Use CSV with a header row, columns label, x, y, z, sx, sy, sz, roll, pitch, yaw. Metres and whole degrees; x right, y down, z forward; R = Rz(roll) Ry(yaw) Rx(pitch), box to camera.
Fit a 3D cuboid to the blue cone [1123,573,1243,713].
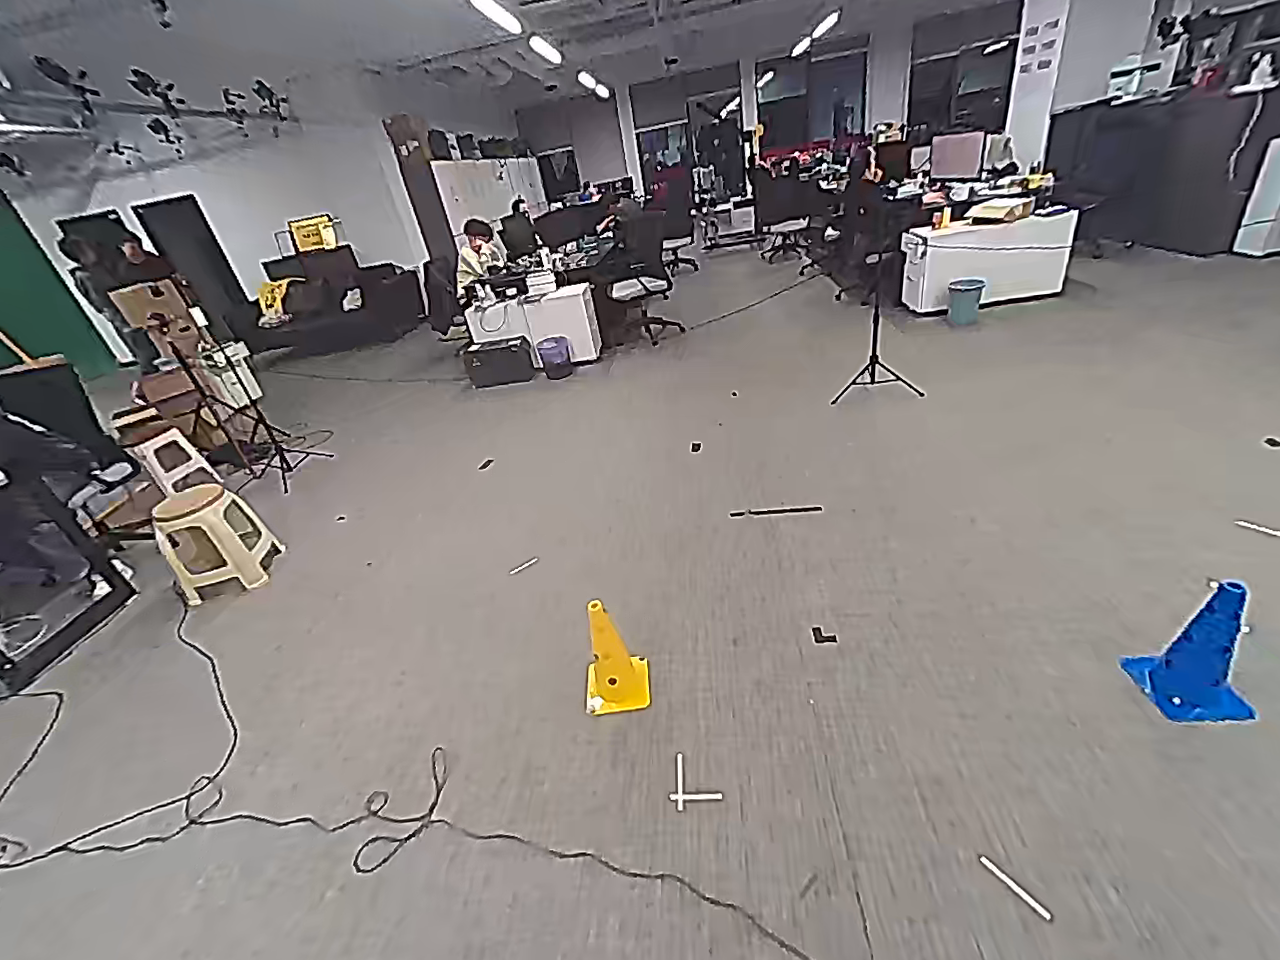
label,x,y,z,sx,sy,sz,roll,pitch,yaw
blue cone,1.403,0.395,1.351,0.193,0.380,0.192,-6,29,10
